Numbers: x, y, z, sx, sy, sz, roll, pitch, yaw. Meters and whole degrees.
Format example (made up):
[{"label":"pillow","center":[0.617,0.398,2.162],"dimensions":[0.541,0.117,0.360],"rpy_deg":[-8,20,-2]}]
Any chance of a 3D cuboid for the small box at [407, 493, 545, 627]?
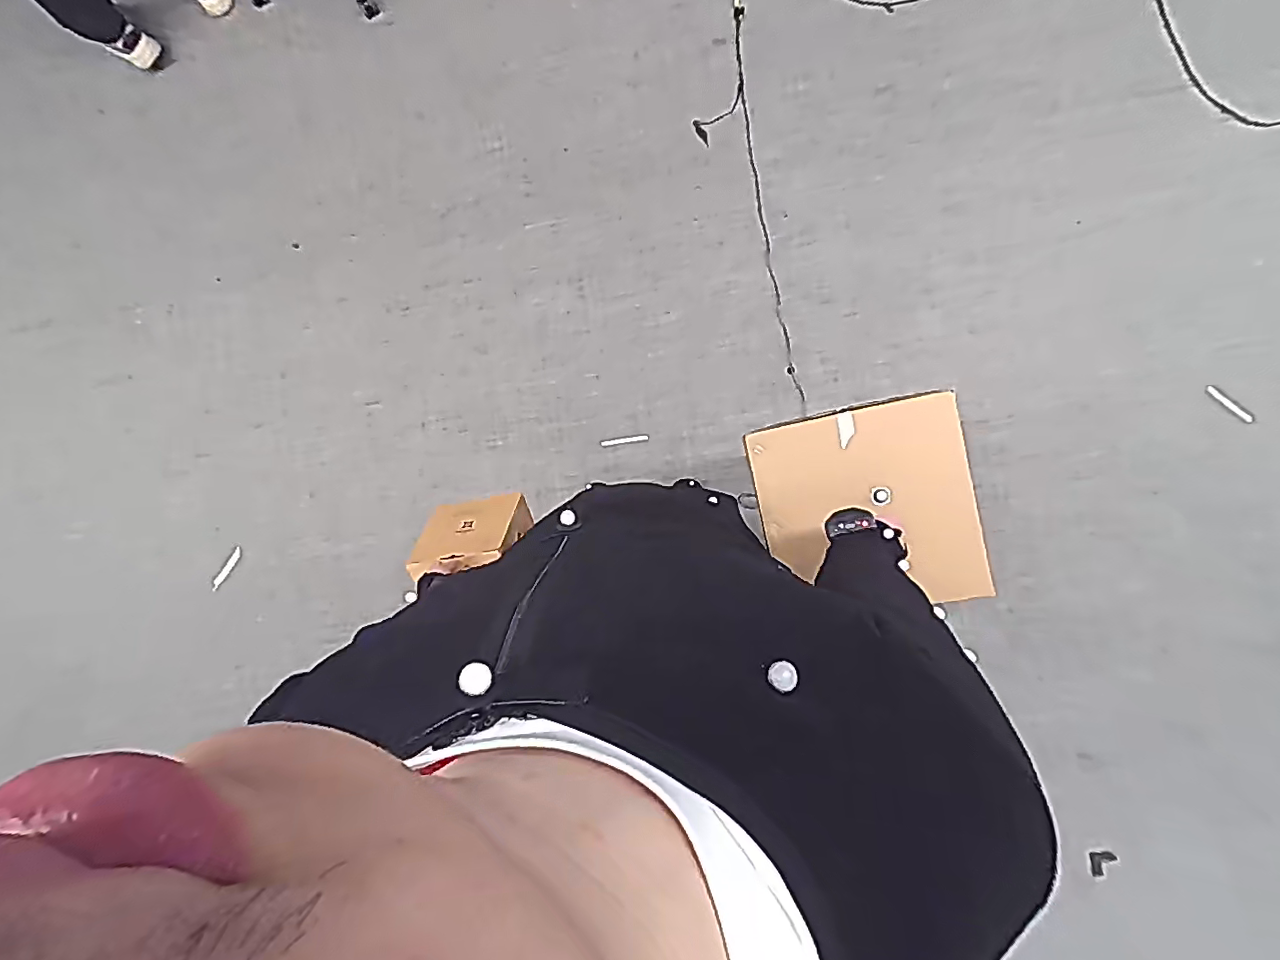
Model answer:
[{"label":"small box","center":[-0.284,0.150,0.985],"dimensions":[0.168,0.179,0.176],"rpy_deg":[-9,120,8]}]
